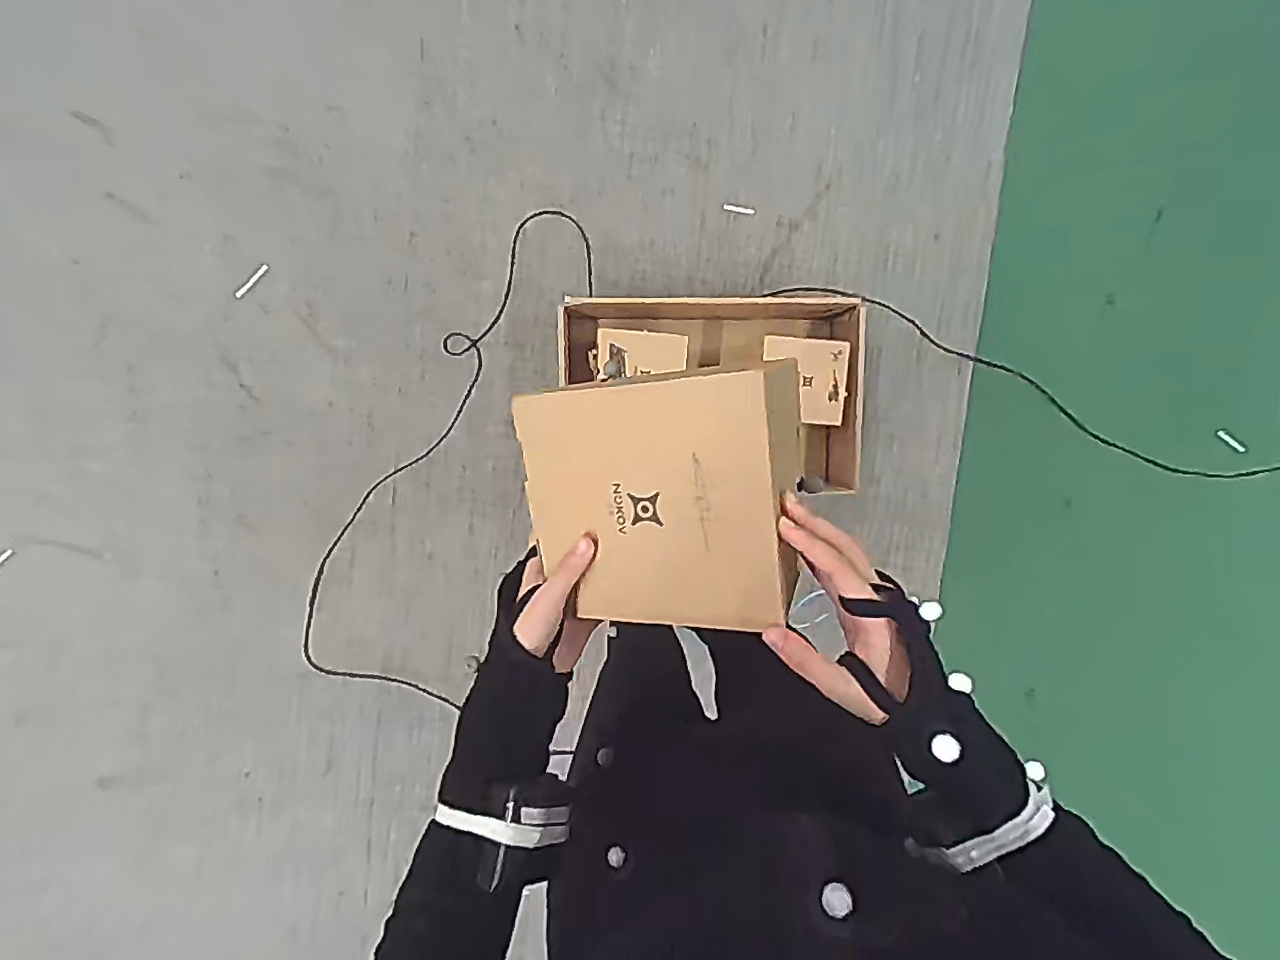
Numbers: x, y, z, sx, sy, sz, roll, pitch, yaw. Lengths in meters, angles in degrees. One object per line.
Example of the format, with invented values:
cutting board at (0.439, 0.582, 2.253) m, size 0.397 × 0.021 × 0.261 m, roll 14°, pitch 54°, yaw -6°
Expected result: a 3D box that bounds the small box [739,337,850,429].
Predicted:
small box at (0.316, -0.197, 1.140) m, size 0.179 × 0.176 × 0.168 m, roll 5°, pitch 96°, yaw -4°
